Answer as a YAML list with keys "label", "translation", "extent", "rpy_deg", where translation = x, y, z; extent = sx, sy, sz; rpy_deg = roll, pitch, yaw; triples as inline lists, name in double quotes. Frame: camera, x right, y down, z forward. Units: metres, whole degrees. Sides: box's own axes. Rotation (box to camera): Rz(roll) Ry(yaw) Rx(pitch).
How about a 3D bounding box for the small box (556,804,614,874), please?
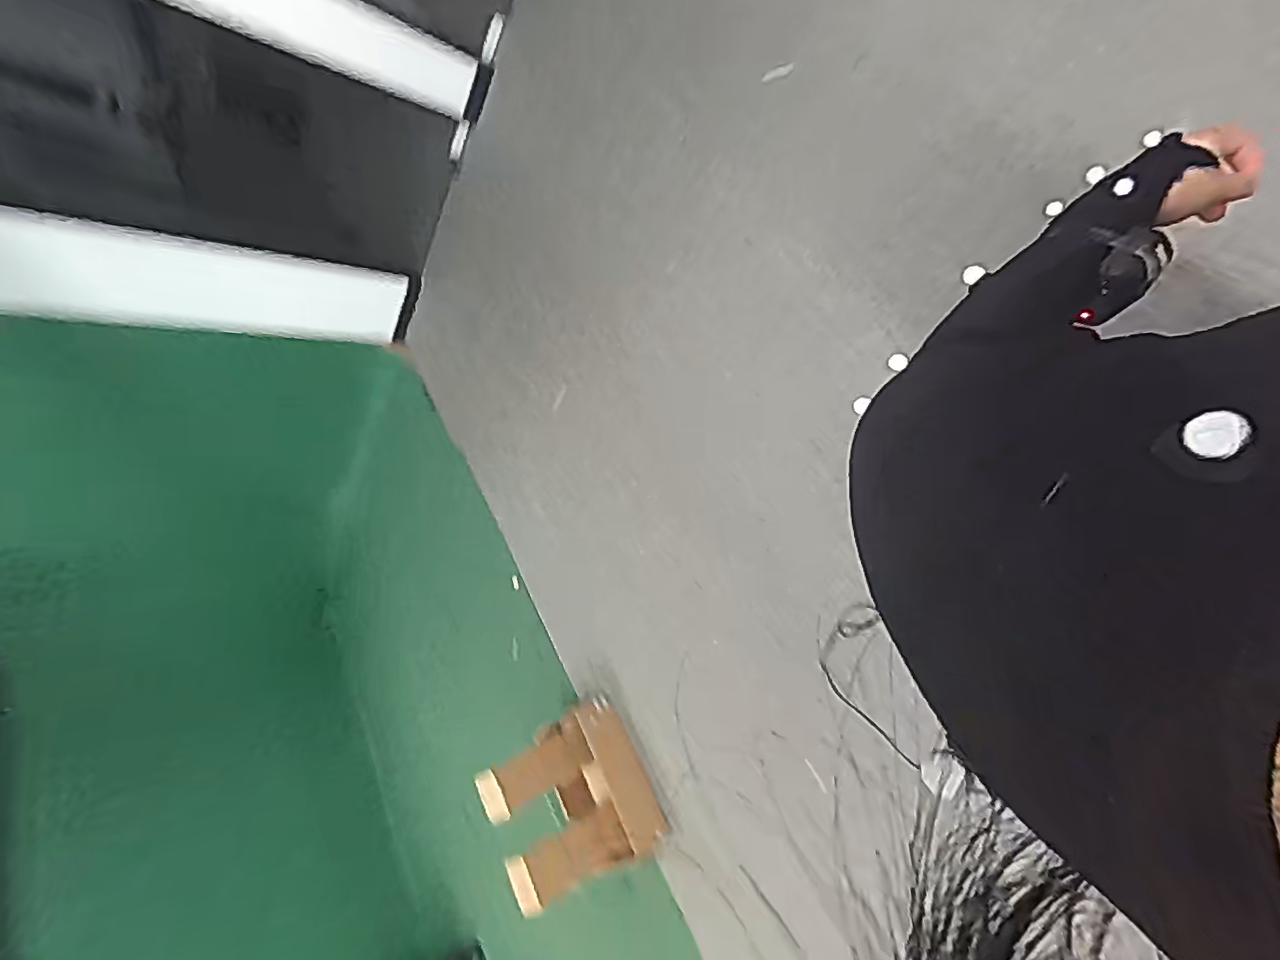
- label: "small box"
  translation: [-0.233, 1.448, 2.173]
  extent: [0.168, 0.176, 0.179]
  rpy_deg: [-46, 62, 37]

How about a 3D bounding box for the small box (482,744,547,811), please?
- label: "small box"
  translation: [-0.497, 1.189, 2.171]
  extent: [0.179, 0.176, 0.168]
  rpy_deg: [-42, 68, 36]

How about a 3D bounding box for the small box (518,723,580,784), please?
- label: "small box"
  translation: [-0.382, 1.165, 2.285]
  extent: [0.168, 0.176, 0.179]
  rpy_deg: [-47, 64, 35]

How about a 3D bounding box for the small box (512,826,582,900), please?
- label: "small box"
  translation: [-0.353, 1.451, 2.059]
  extent: [0.168, 0.176, 0.179]
  rpy_deg: [-47, 63, 37]

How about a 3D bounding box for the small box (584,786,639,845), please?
- label: "small box"
  translation: [-0.126, 1.436, 2.297]
  extent: [0.179, 0.176, 0.168]
  rpy_deg: [-47, 63, 36]
